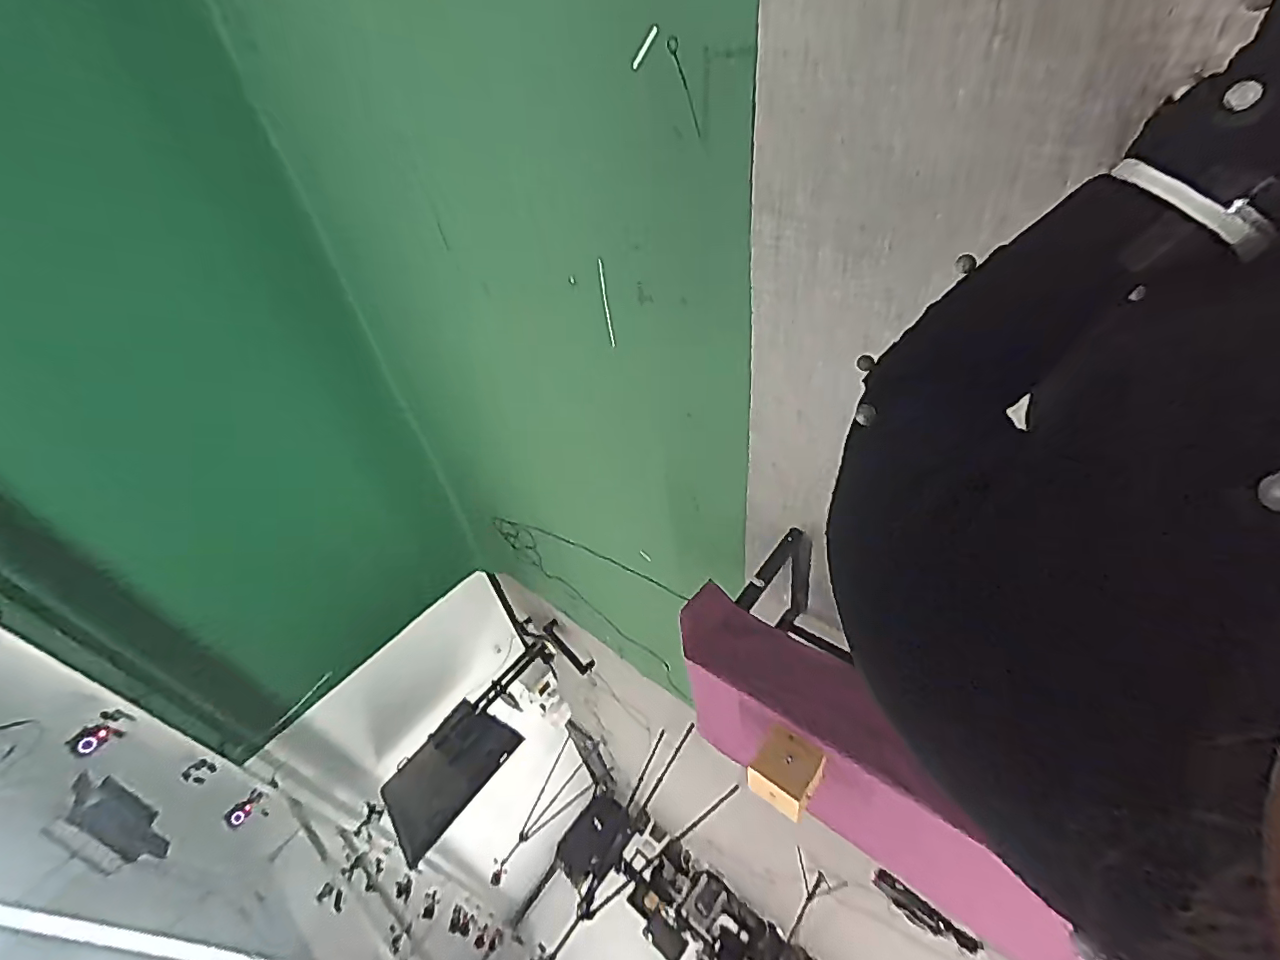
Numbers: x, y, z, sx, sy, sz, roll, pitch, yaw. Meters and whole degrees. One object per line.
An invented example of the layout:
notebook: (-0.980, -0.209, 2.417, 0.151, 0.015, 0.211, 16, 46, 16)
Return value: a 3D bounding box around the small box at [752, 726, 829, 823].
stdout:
small box: (0.453, 0.879, 1.626, 0.168, 0.176, 0.179, 24, 142, 33)
